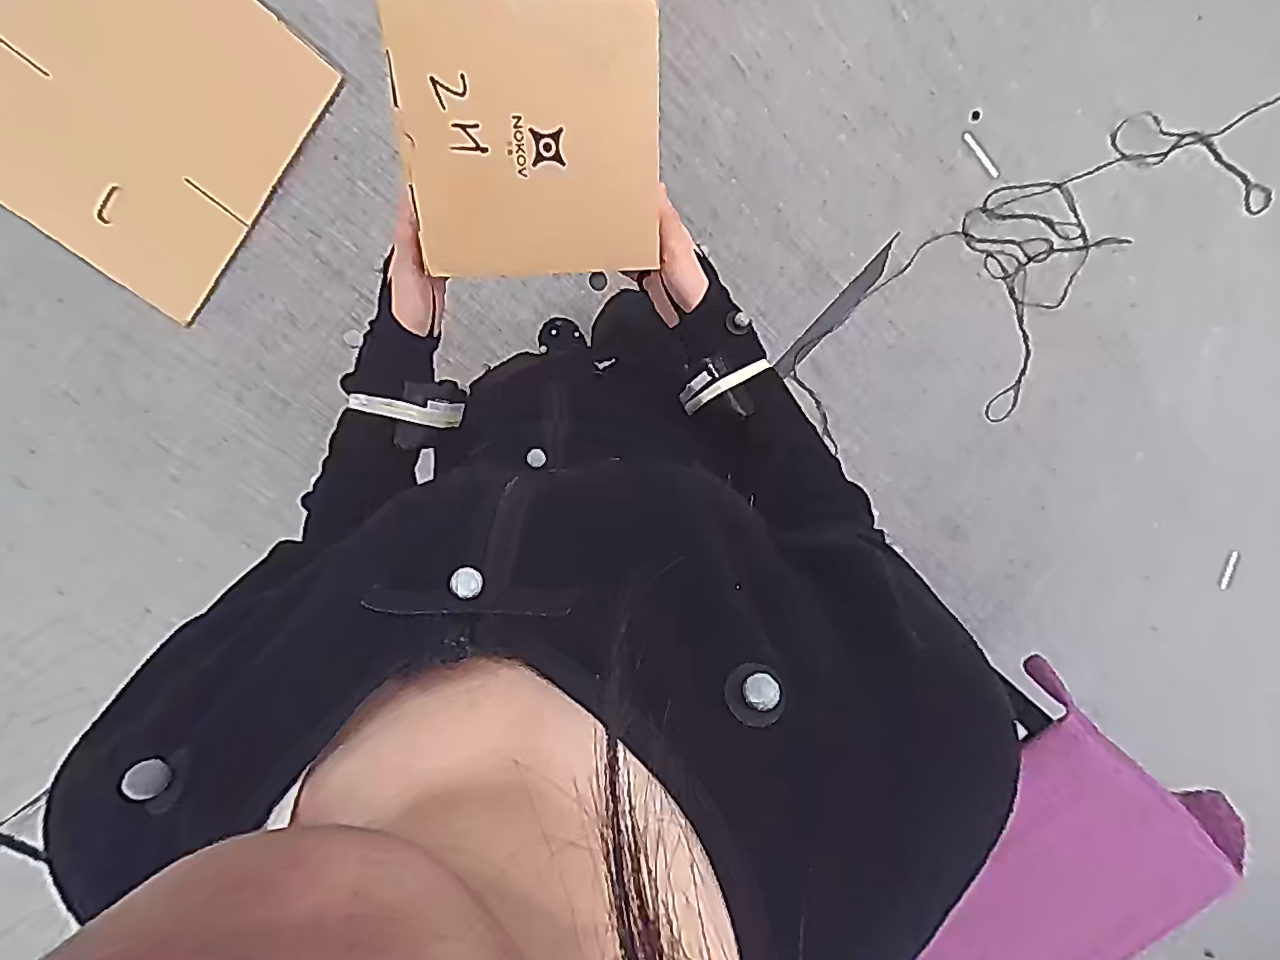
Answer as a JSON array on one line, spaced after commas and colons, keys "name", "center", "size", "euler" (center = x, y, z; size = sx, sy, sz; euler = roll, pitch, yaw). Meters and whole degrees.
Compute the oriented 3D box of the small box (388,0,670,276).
[{"name": "small box", "center": [-0.079, -0.262, 0.439], "size": [0.179, 0.176, 0.168], "euler": [-5, 116, -7]}]
